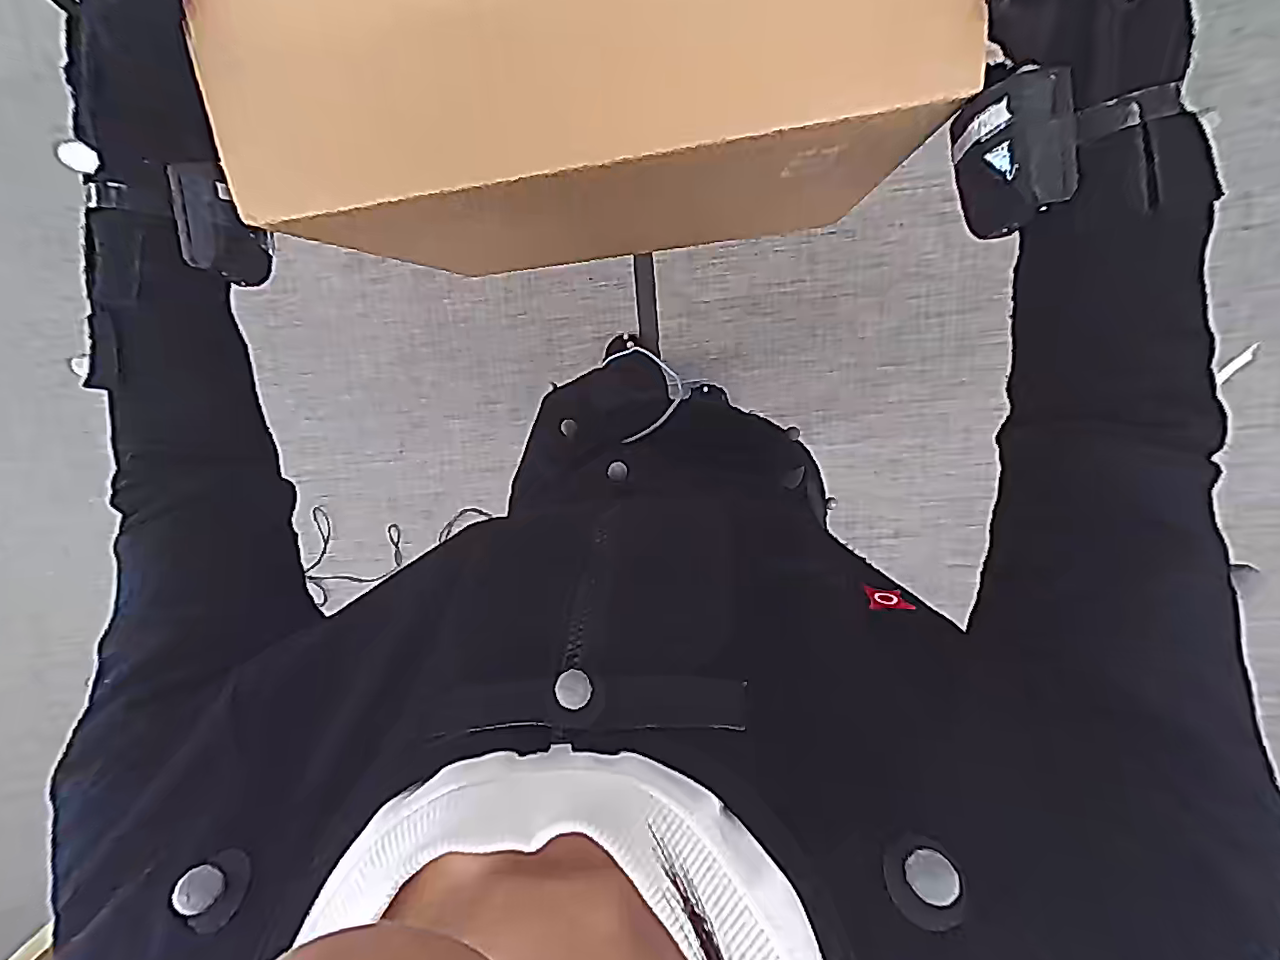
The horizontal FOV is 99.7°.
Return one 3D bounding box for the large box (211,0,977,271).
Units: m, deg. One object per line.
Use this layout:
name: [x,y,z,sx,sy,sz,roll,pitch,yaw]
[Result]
large box: [-0.032,-0.365,0.406,0.408,0.320,0.320,-6,105,8]
